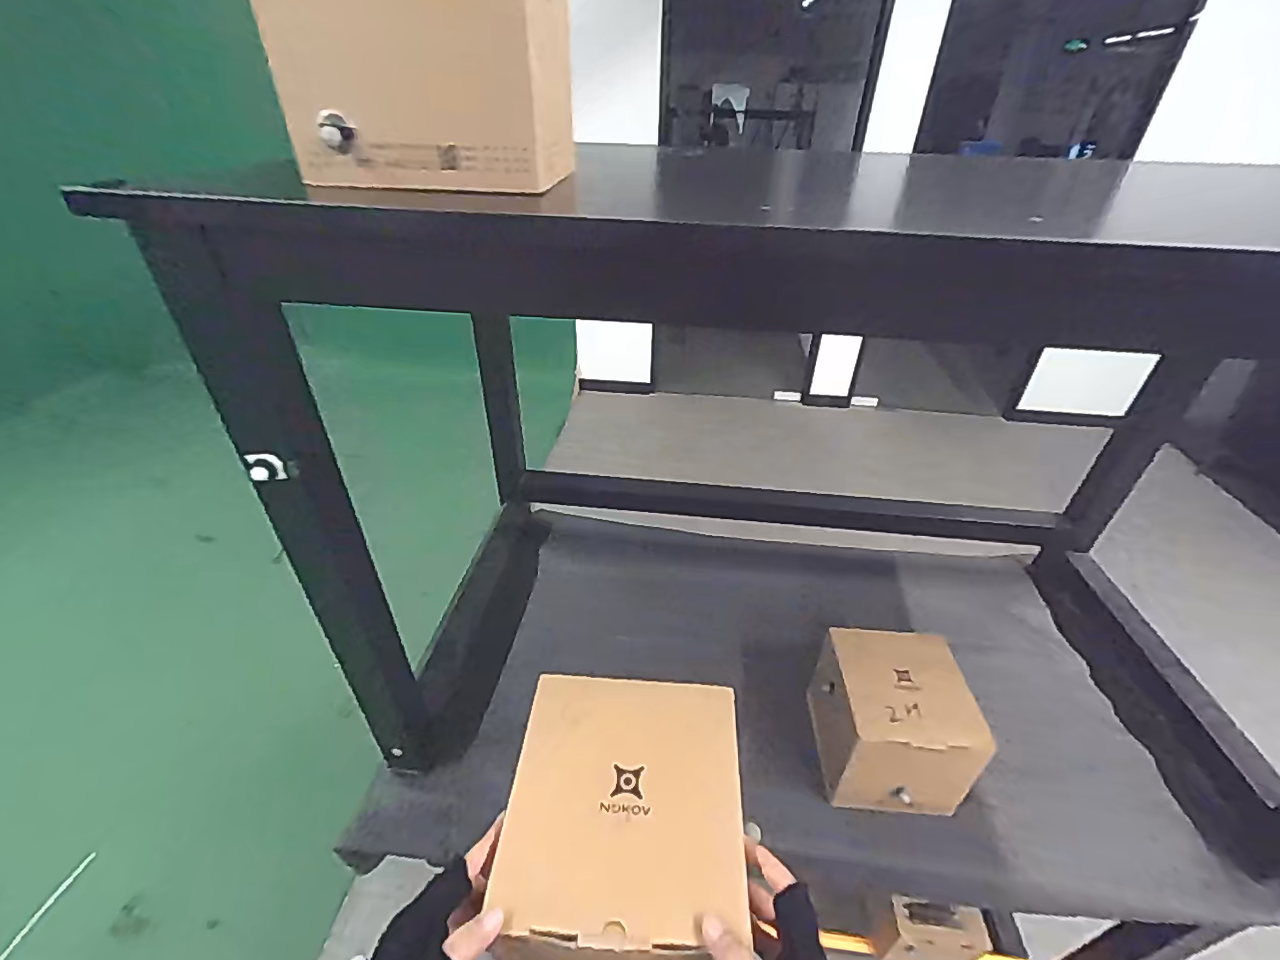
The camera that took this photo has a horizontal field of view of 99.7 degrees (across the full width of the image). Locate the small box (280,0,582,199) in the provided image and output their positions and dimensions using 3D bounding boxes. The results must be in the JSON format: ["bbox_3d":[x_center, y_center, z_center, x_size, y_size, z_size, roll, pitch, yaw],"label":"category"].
[{"bbox_3d":[-0.135,-0.314,0.404,0.168,0.176,0.179,3,34,0],"label":"small box"}]

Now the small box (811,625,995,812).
[{"bbox_3d":[0.353,0.335,0.770,0.168,0.176,0.179,3,33,3],"label":"small box"}]
